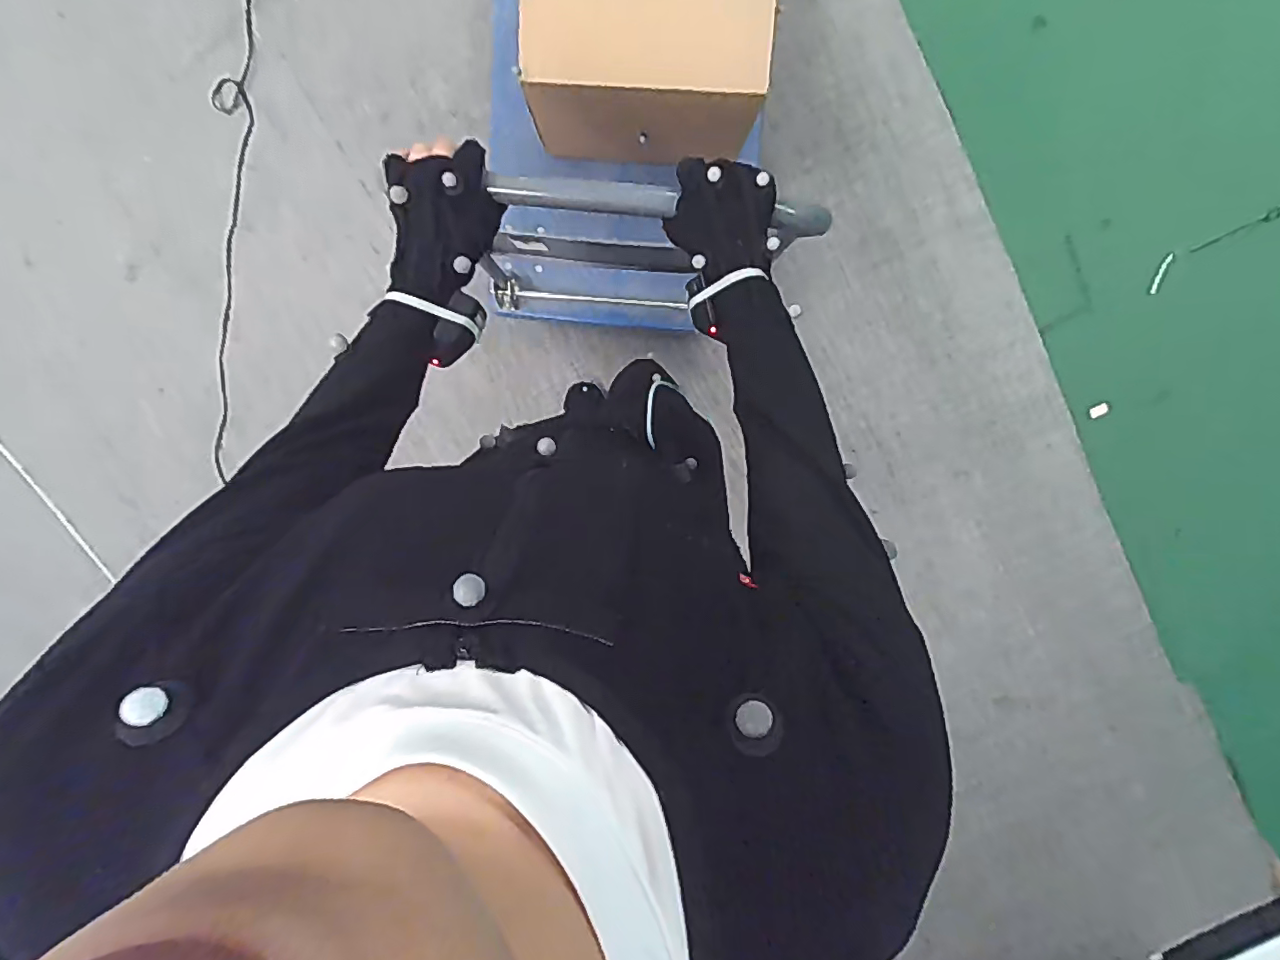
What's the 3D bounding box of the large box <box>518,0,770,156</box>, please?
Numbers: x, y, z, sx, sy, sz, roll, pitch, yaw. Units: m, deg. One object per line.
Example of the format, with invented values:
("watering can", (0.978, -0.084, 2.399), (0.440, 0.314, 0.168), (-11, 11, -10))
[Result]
("large box", (0.007, -0.817, 0.987), (0.408, 0.320, 0.320), (1, 101, -1))
